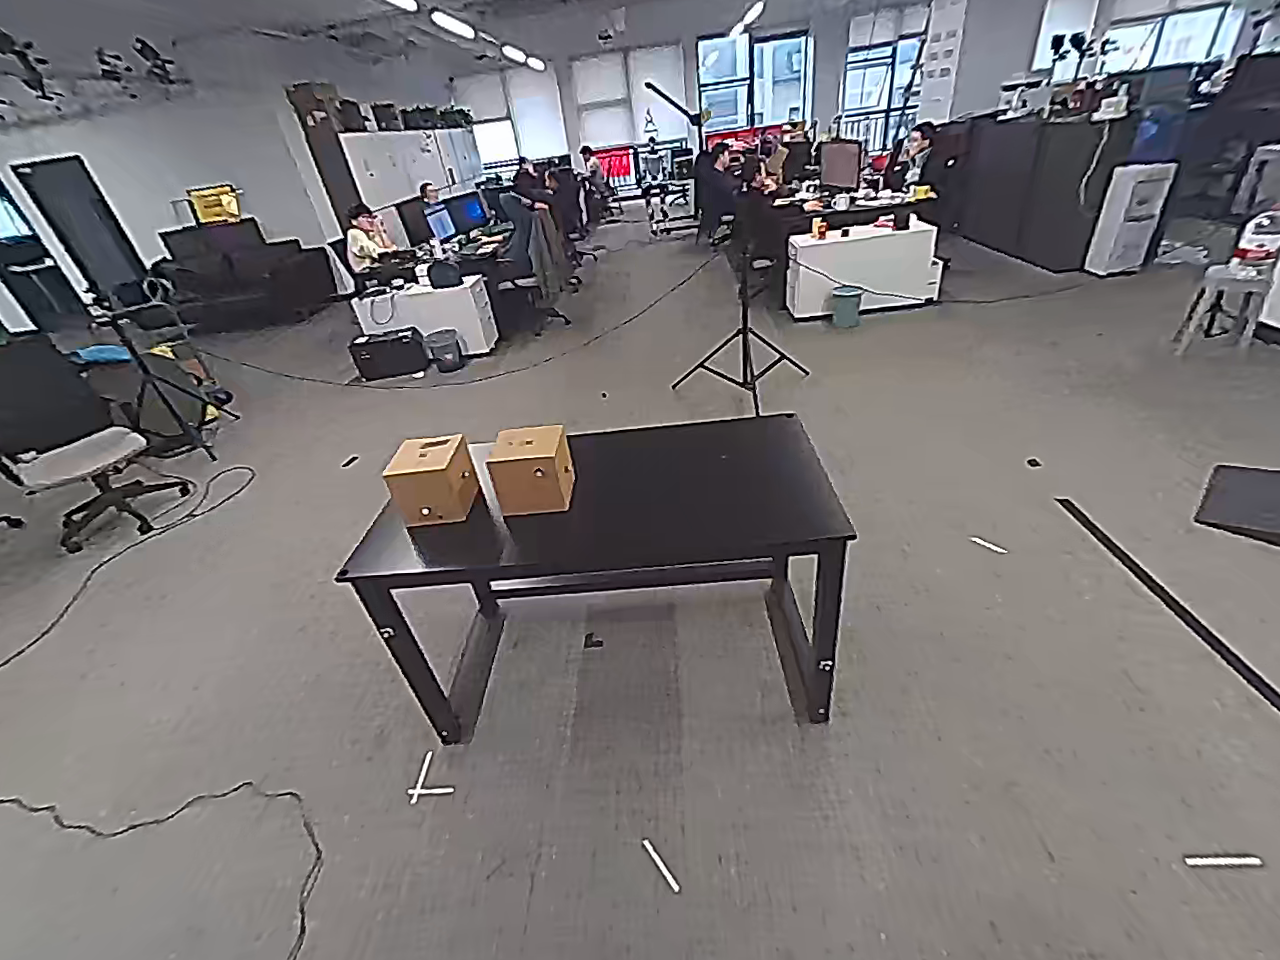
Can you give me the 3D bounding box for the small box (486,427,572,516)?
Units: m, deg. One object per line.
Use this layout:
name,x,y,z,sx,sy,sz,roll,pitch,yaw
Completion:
small box,-0.281,-0.021,1.425,0.179,0.176,0.168,-5,33,4

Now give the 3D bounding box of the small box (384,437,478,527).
small box,-0.546,0.004,1.446,0.168,0.176,0.179,-6,34,3
